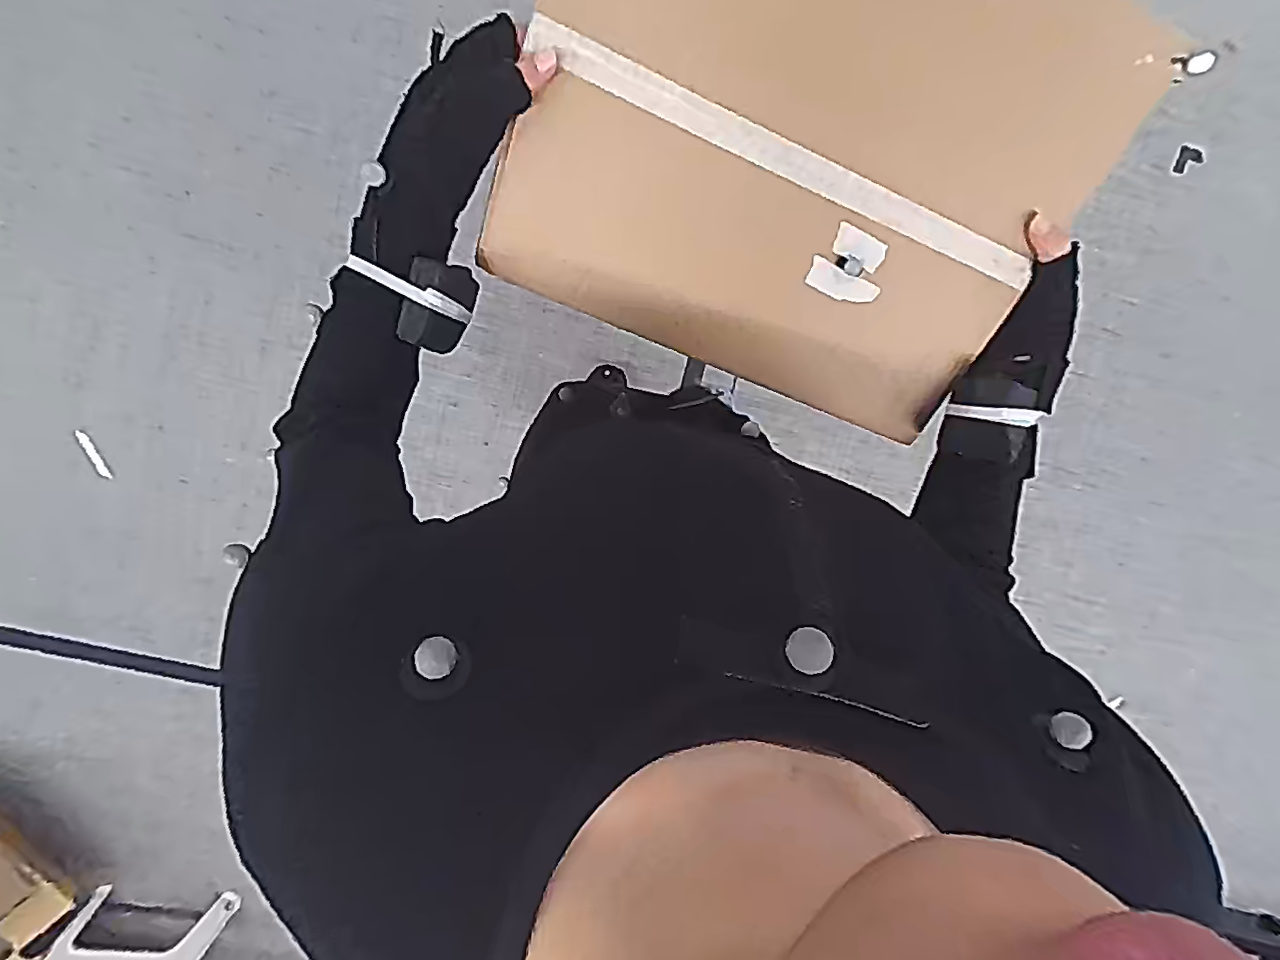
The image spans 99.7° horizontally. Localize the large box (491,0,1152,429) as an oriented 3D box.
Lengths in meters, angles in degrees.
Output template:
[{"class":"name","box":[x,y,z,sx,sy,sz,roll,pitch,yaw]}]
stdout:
[{"class":"large box","box":[0.113,-0.305,0.534,0.408,0.320,0.320,20,119,-11]}]
